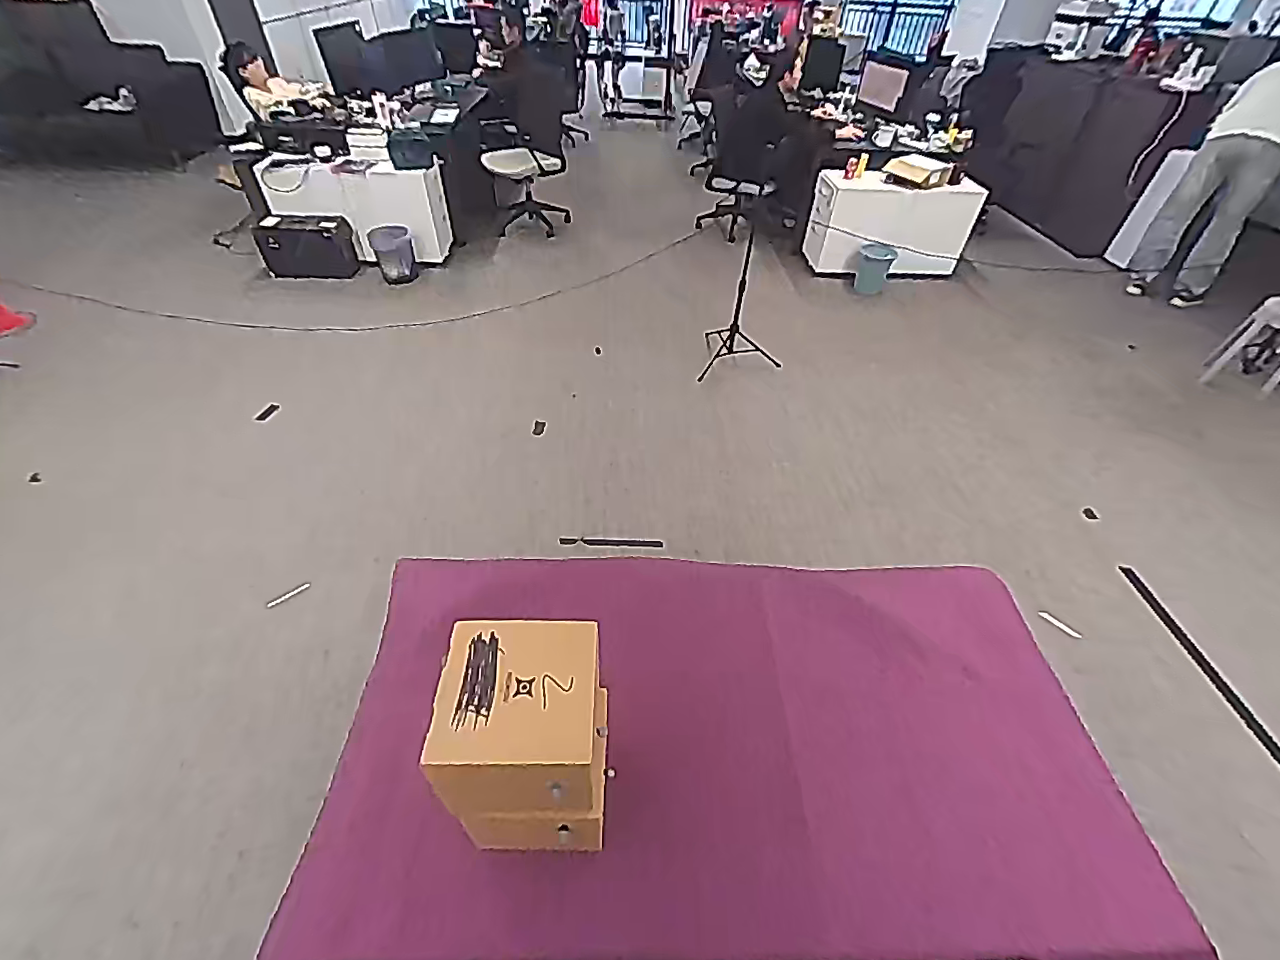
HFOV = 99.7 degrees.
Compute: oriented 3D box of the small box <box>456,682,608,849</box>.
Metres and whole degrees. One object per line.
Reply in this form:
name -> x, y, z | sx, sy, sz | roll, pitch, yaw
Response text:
small box -> -0.139, 0.406, 0.765 | 0.179, 0.176, 0.168 | 2, 44, -1
